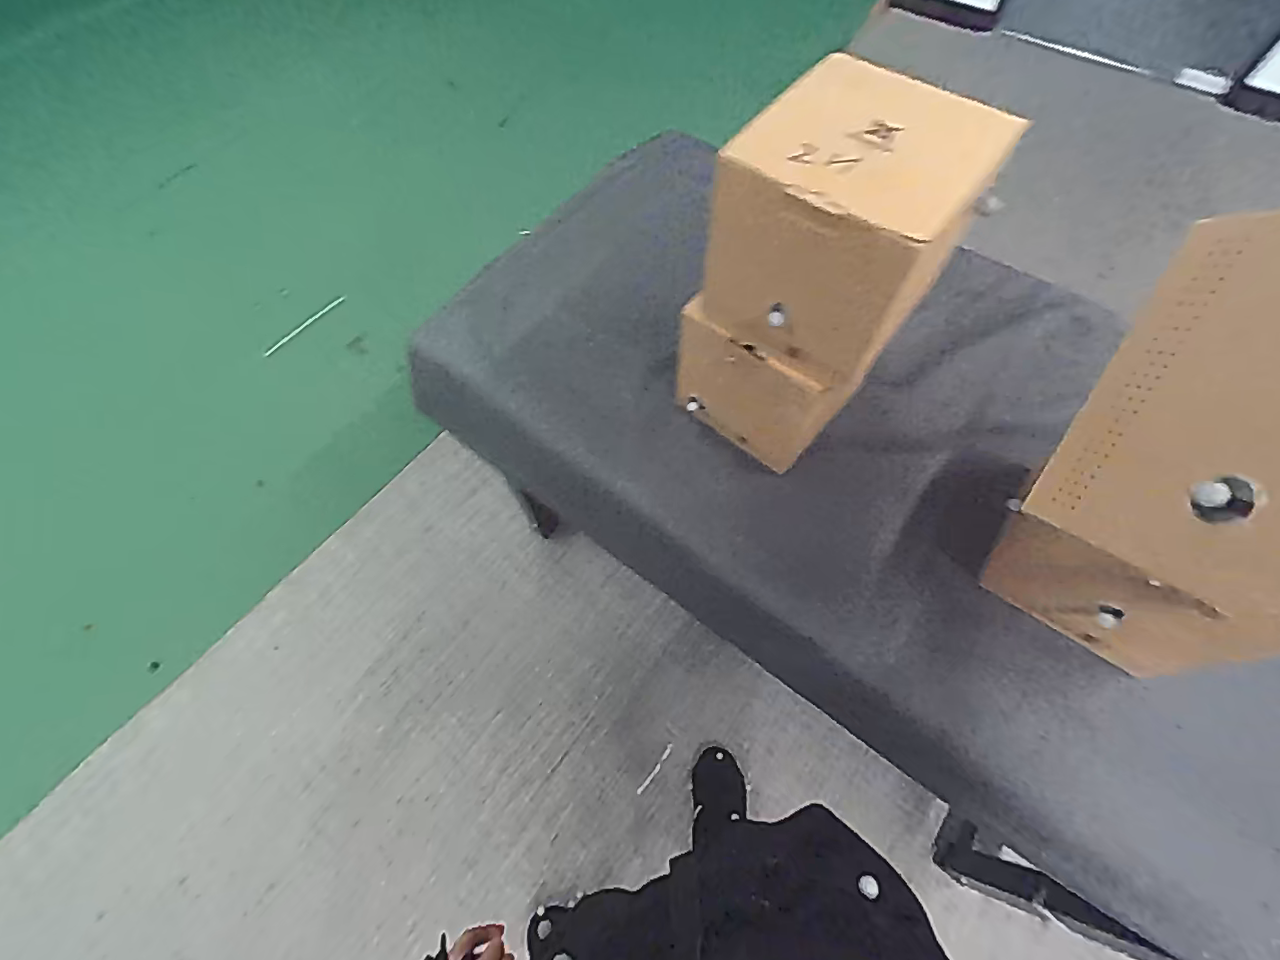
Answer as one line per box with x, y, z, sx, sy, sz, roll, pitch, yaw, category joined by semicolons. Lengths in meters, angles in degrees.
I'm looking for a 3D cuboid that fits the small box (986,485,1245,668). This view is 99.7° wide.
0.474;0.056;0.518;0.168;0.176;0.179;33;69;17;small box

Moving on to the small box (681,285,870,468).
0.163;-0.145;0.630;0.168;0.176;0.179;39;69;18;small box

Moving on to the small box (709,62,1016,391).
0.176;-0.217;0.481;0.168;0.176;0.179;36;69;18;small box
